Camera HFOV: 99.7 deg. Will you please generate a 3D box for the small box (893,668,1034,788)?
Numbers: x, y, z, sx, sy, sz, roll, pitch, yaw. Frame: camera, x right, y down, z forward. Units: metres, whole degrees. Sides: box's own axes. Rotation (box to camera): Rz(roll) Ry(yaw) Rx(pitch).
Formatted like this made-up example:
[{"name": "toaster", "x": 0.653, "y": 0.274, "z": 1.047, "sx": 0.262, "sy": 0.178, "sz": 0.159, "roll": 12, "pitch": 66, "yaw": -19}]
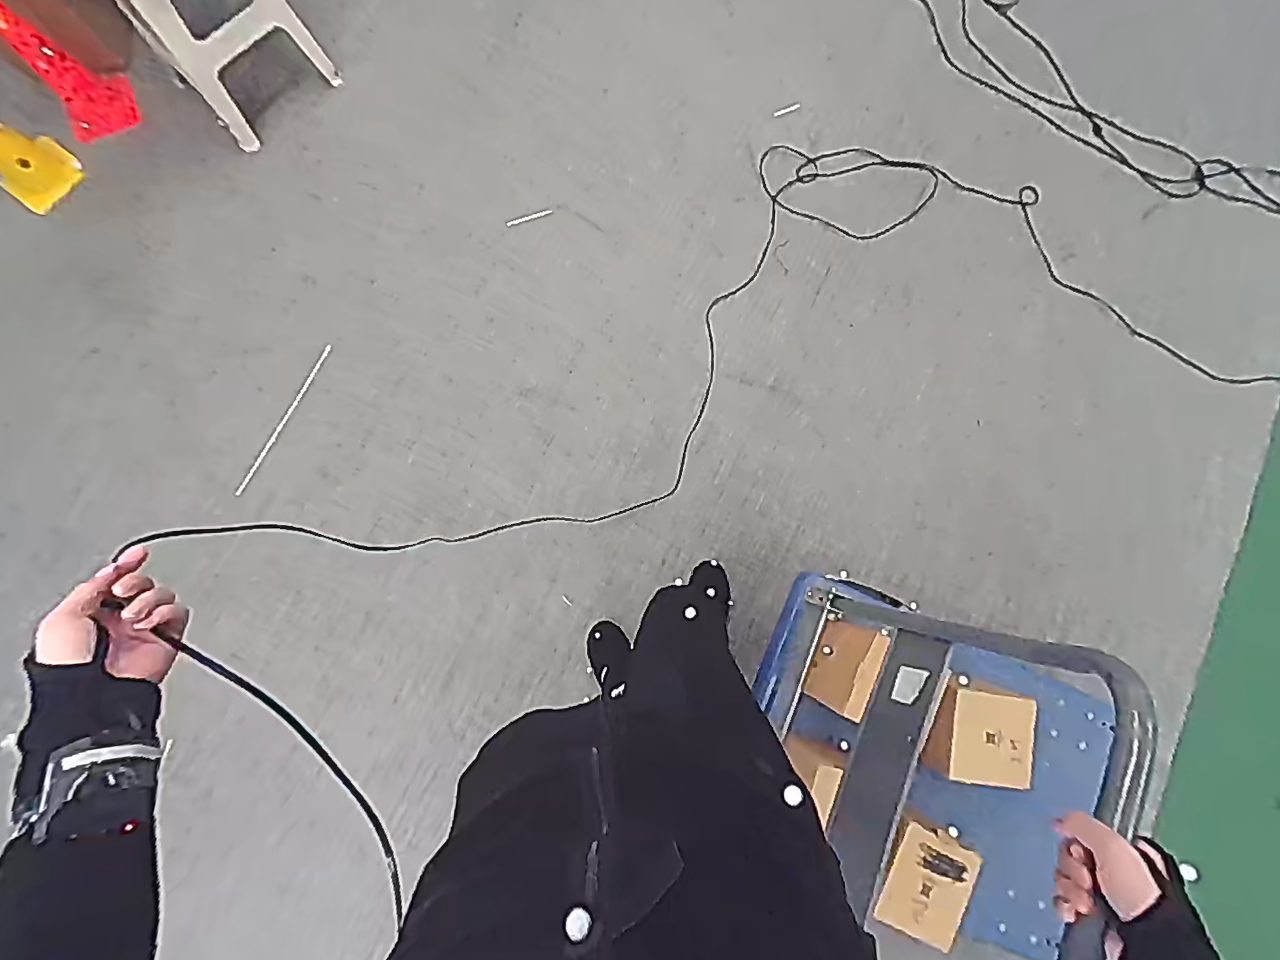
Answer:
[{"name": "small box", "x": 0.642, "y": 0.488, "z": 1.088, "sx": 0.179, "sy": 0.176, "sz": 0.168, "roll": 12, "pitch": 83, "yaw": -9}]
